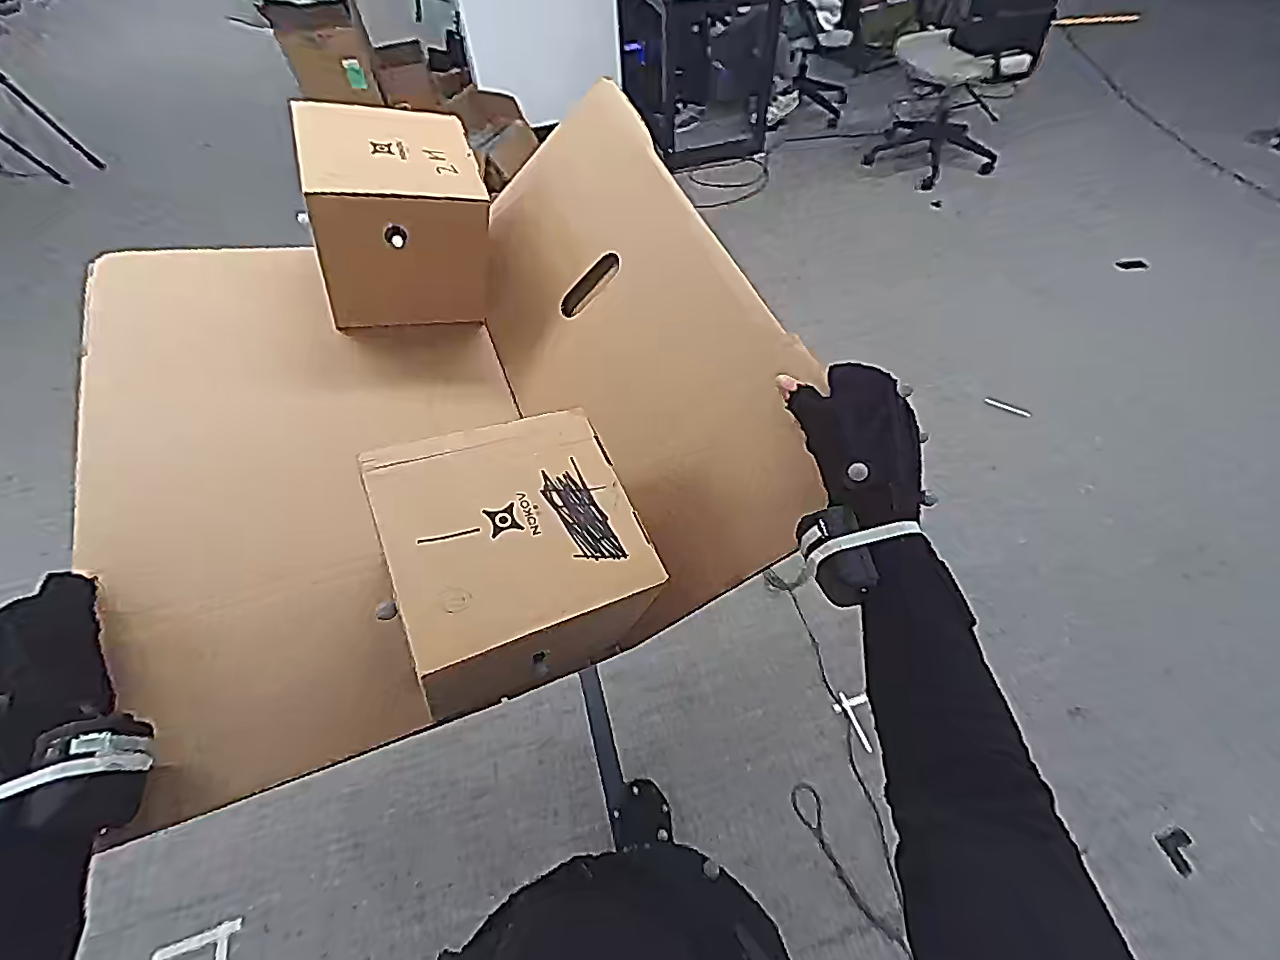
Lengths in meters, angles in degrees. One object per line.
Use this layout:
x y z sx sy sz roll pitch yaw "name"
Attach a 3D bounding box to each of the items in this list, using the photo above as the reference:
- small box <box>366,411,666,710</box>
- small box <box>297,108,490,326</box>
-0.109 0.069 0.453 0.179 0.176 0.168 -16 65 -25 "small box"
-0.282 -0.299 0.639 0.179 0.176 0.168 -9 61 -24 "small box"
